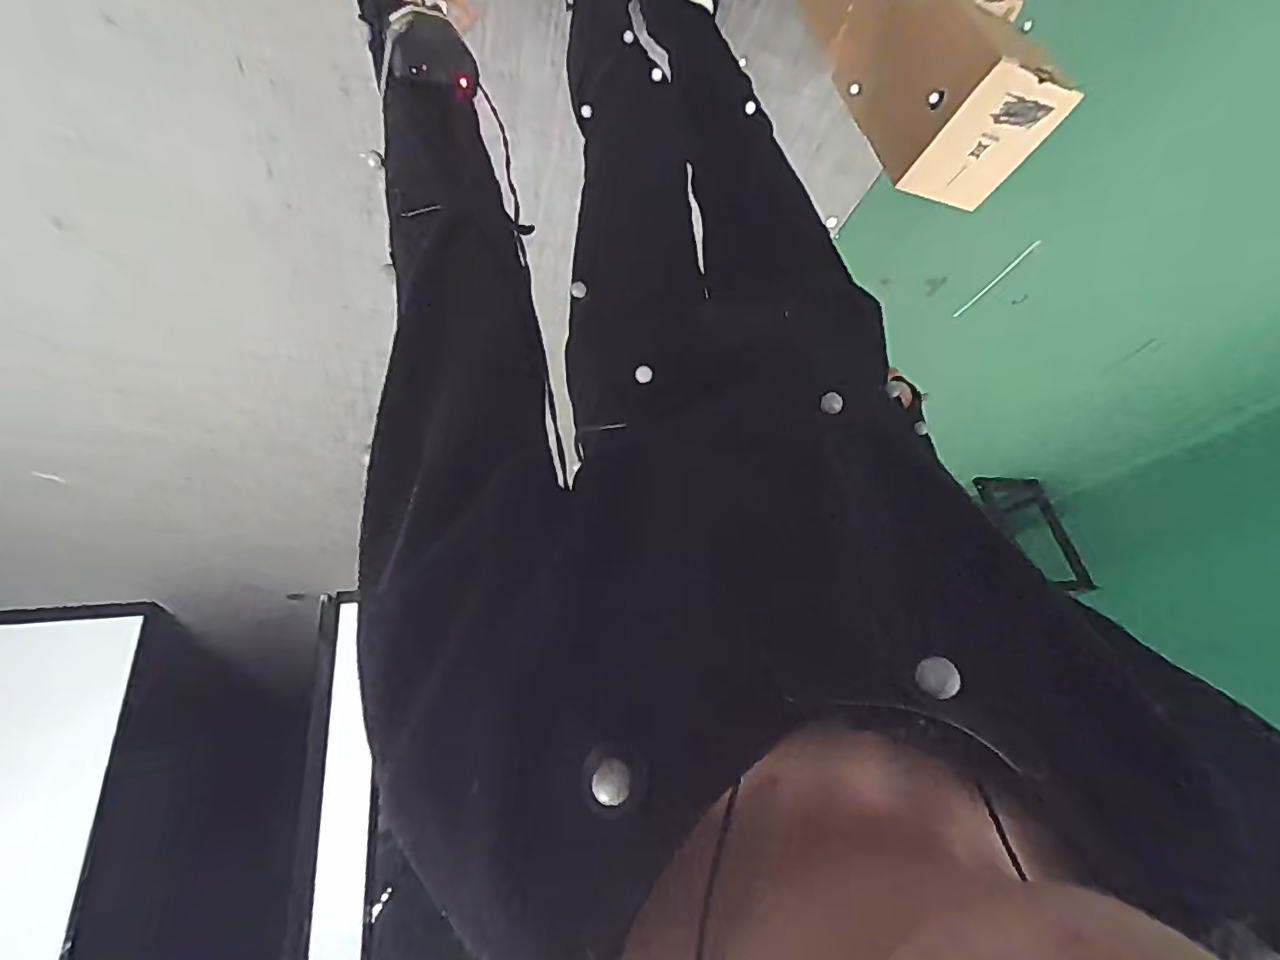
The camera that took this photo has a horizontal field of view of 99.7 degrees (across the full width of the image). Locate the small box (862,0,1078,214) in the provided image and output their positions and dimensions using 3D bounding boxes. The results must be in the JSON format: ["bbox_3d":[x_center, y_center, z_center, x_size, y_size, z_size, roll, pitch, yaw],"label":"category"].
[{"bbox_3d":[0.455,-0.527,0.775,0.168,0.176,0.179,2,152,-23],"label":"small box"}]

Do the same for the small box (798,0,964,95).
[{"bbox_3d":[0.402,-0.814,0.927,0.179,0.176,0.168,7,149,-30],"label":"small box"}]
